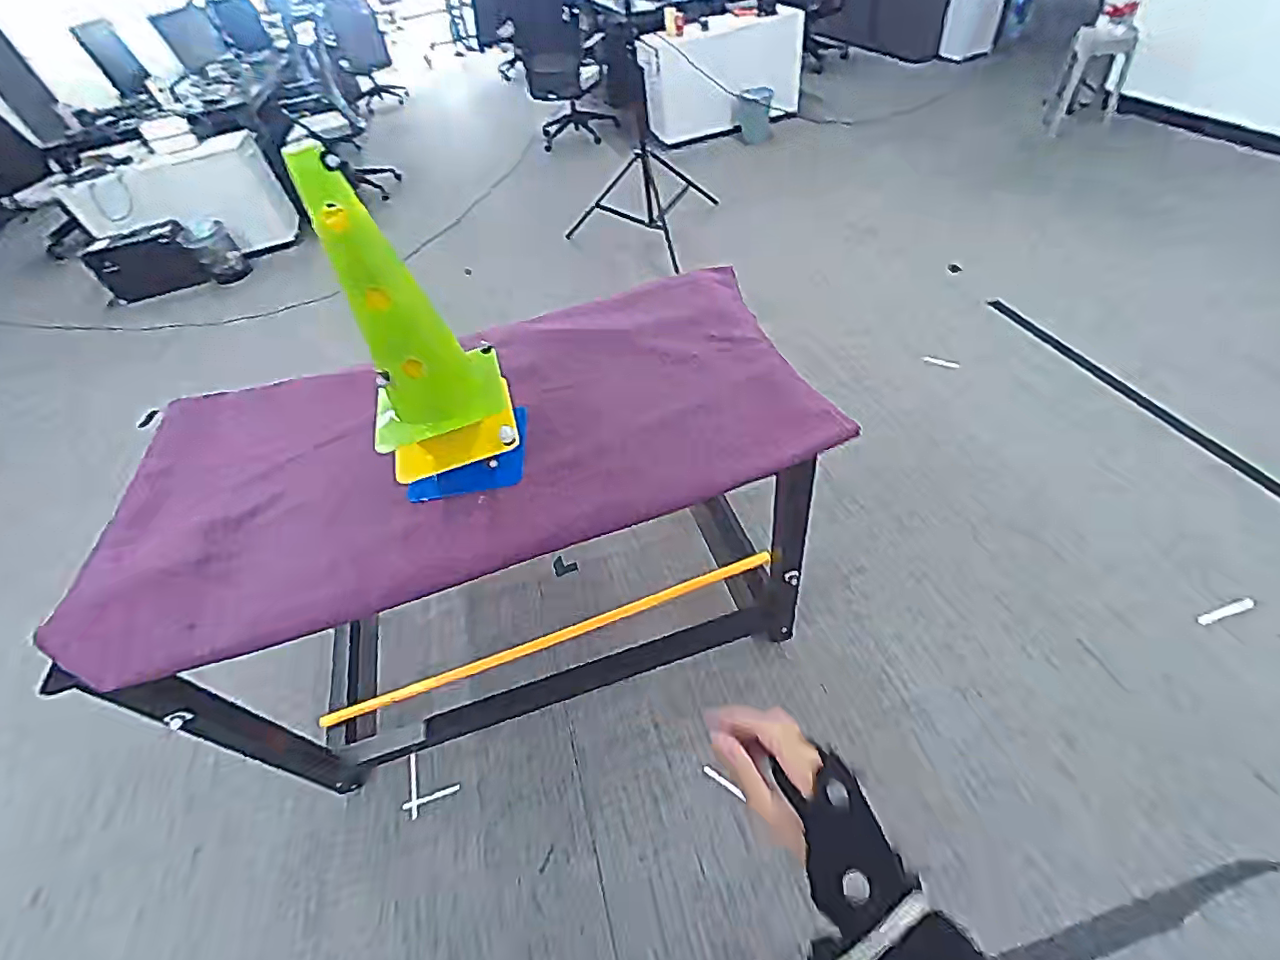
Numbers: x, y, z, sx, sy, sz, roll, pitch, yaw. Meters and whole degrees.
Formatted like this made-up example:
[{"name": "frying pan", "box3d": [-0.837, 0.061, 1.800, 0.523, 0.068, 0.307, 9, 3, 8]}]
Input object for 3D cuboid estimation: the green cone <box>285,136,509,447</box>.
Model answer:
[{"name": "green cone", "box3d": [-0.345, -0.253, 0.727, 0.200, 0.368, 0.202, -21, 47, -5]}]
